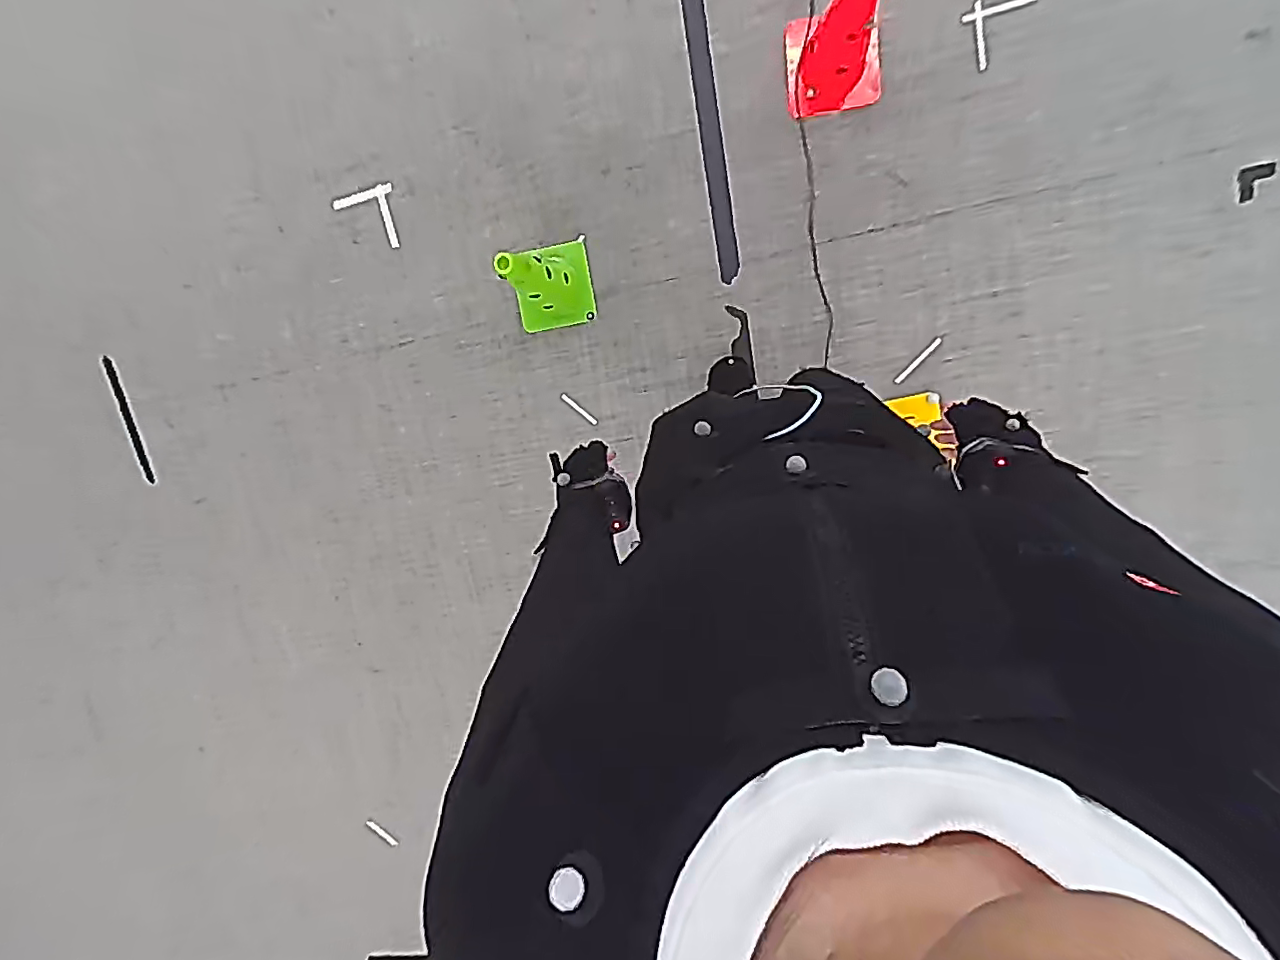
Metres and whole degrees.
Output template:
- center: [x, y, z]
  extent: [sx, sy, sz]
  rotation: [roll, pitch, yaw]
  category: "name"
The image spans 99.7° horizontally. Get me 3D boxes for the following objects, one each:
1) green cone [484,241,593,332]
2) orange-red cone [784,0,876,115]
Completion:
- center: [-0.254, -0.464, 1.223]
  extent: [0.202, 0.368, 0.200]
  rotation: [-9, 99, 10]
  category: "green cone"
- center: [0.408, -0.906, 1.053]
  extent: [0.199, 0.360, 0.198]
  rotation: [-5, 102, 7]
  category: "orange-red cone"
